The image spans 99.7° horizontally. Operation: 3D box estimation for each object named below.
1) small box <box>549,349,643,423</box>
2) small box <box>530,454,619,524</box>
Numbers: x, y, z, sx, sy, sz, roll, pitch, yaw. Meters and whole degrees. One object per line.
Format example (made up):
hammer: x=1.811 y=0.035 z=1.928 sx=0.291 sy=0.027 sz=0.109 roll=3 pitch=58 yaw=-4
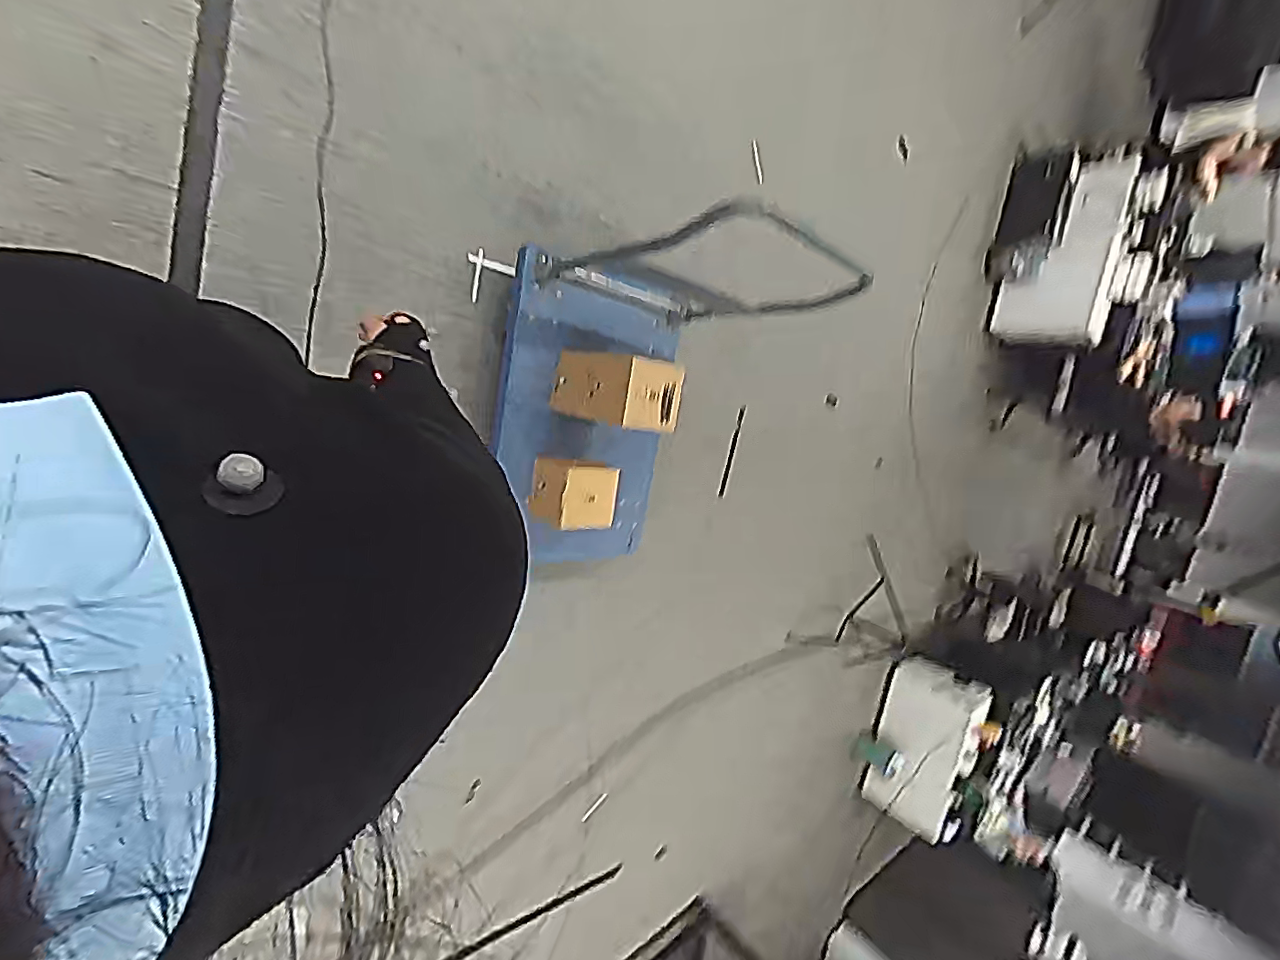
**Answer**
small box: x=-0.124 y=-0.265 z=1.504 sx=0.179 sy=0.176 sz=0.168 roll=8 pitch=97 yaw=-42
small box: x=-0.188 y=0.021 z=1.537 sx=0.179 sy=0.176 sz=0.168 roll=0 pitch=103 yaw=-41
